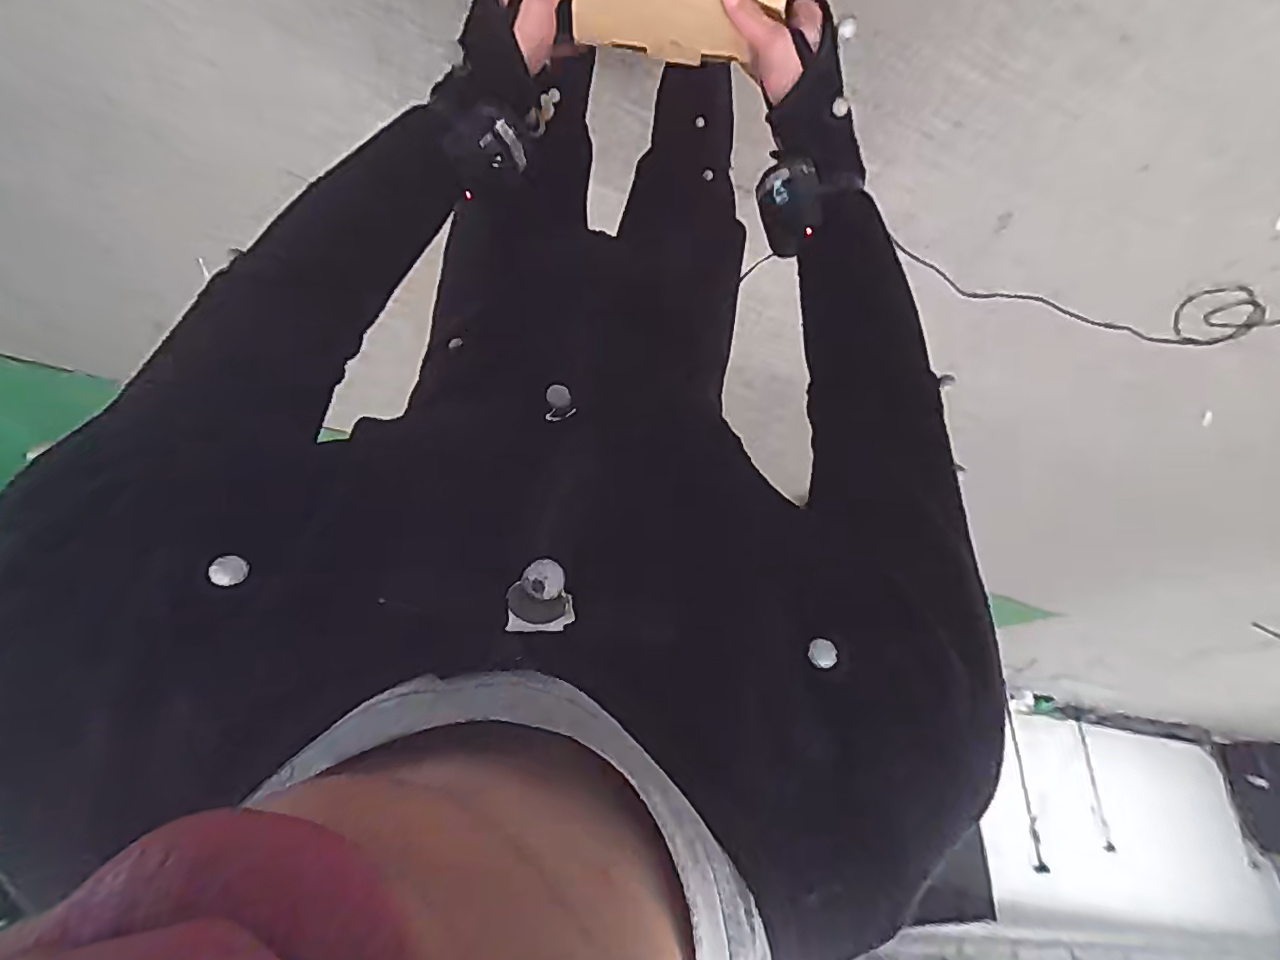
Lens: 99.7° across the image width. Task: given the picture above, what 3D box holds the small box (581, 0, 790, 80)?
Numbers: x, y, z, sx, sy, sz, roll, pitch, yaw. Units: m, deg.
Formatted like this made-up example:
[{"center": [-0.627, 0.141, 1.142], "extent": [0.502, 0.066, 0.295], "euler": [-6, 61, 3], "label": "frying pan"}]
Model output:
[{"center": [0.044, -0.461, 0.446], "extent": [0.168, 0.176, 0.179], "euler": [5, 135, -2], "label": "small box"}]
